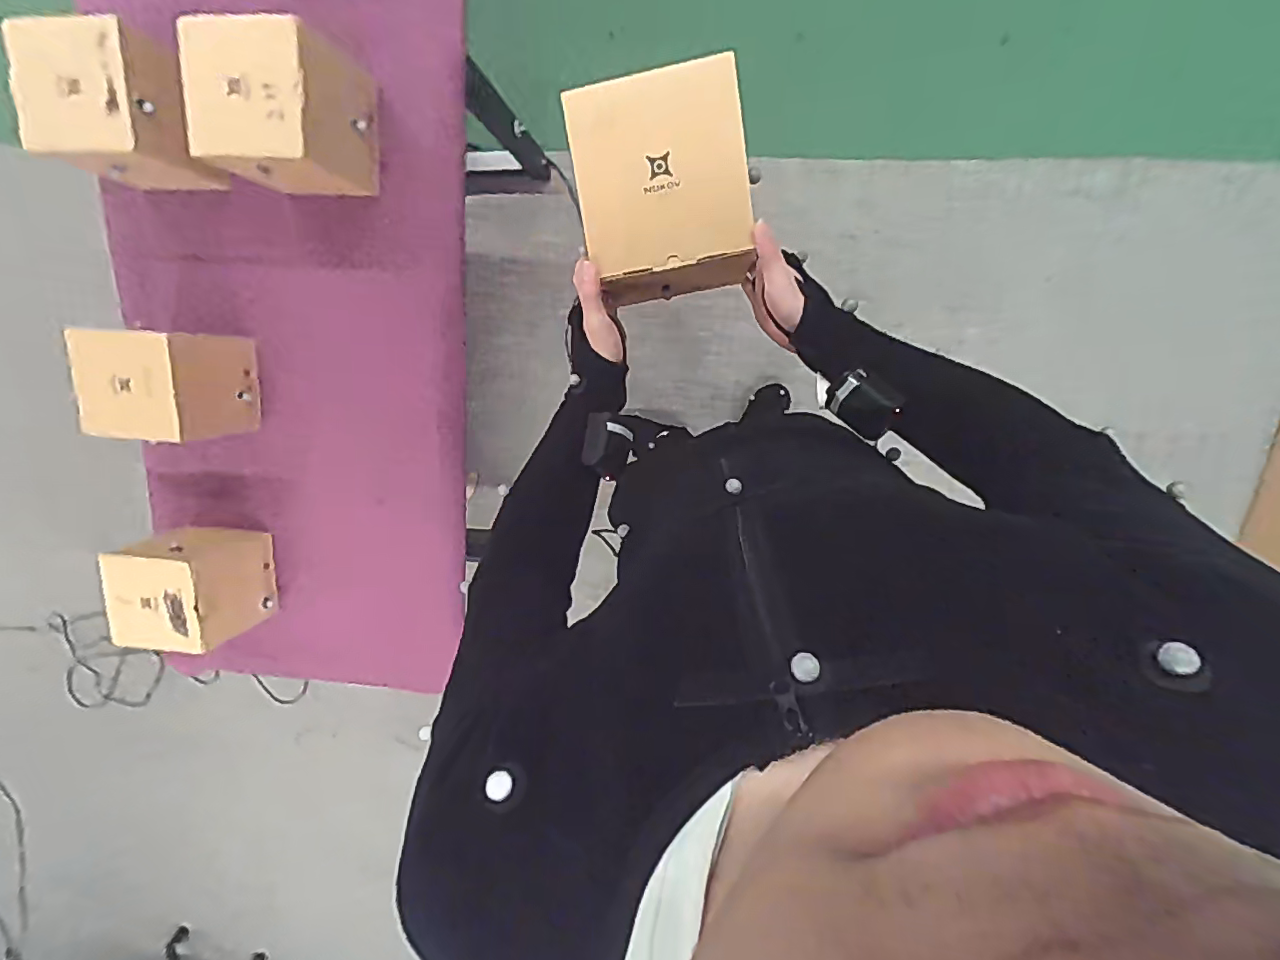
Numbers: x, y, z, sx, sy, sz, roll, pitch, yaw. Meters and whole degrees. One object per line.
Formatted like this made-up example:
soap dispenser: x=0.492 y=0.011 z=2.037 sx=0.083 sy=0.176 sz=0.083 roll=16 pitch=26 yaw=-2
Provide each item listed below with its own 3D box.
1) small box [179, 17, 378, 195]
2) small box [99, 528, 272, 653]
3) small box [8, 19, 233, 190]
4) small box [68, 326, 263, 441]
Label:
small box: x=-0.513 y=-0.531 z=0.790 sx=0.179 sy=0.176 sz=0.168 roll=6 pitch=103 yaw=8
small box: x=-0.799 y=0.189 z=0.975 sx=0.179 sy=0.176 sz=0.168 roll=4 pitch=101 yaw=7
small box: x=-0.772 y=-0.556 z=0.822 sx=0.179 sy=0.176 sz=0.168 roll=4 pitch=102 yaw=6
small box: x=-0.779 y=-0.162 z=0.905 sx=0.179 sy=0.176 sz=0.168 roll=5 pitch=102 yaw=6
